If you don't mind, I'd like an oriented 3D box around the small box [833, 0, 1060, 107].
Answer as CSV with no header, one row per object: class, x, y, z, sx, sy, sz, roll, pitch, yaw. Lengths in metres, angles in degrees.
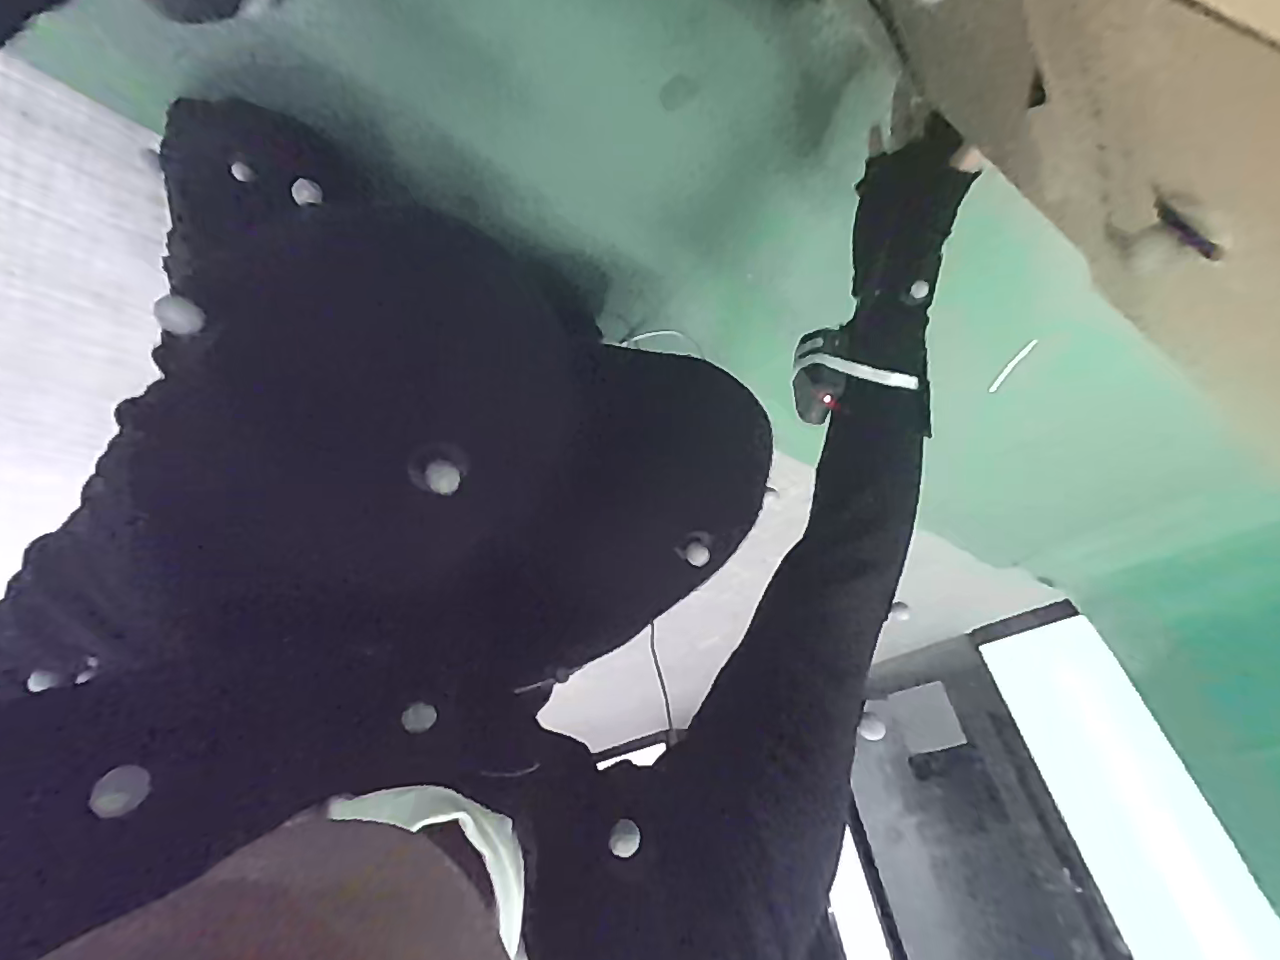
small box,0.164,-0.353,0.270,0.179,0.176,0.168,-33,143,33
